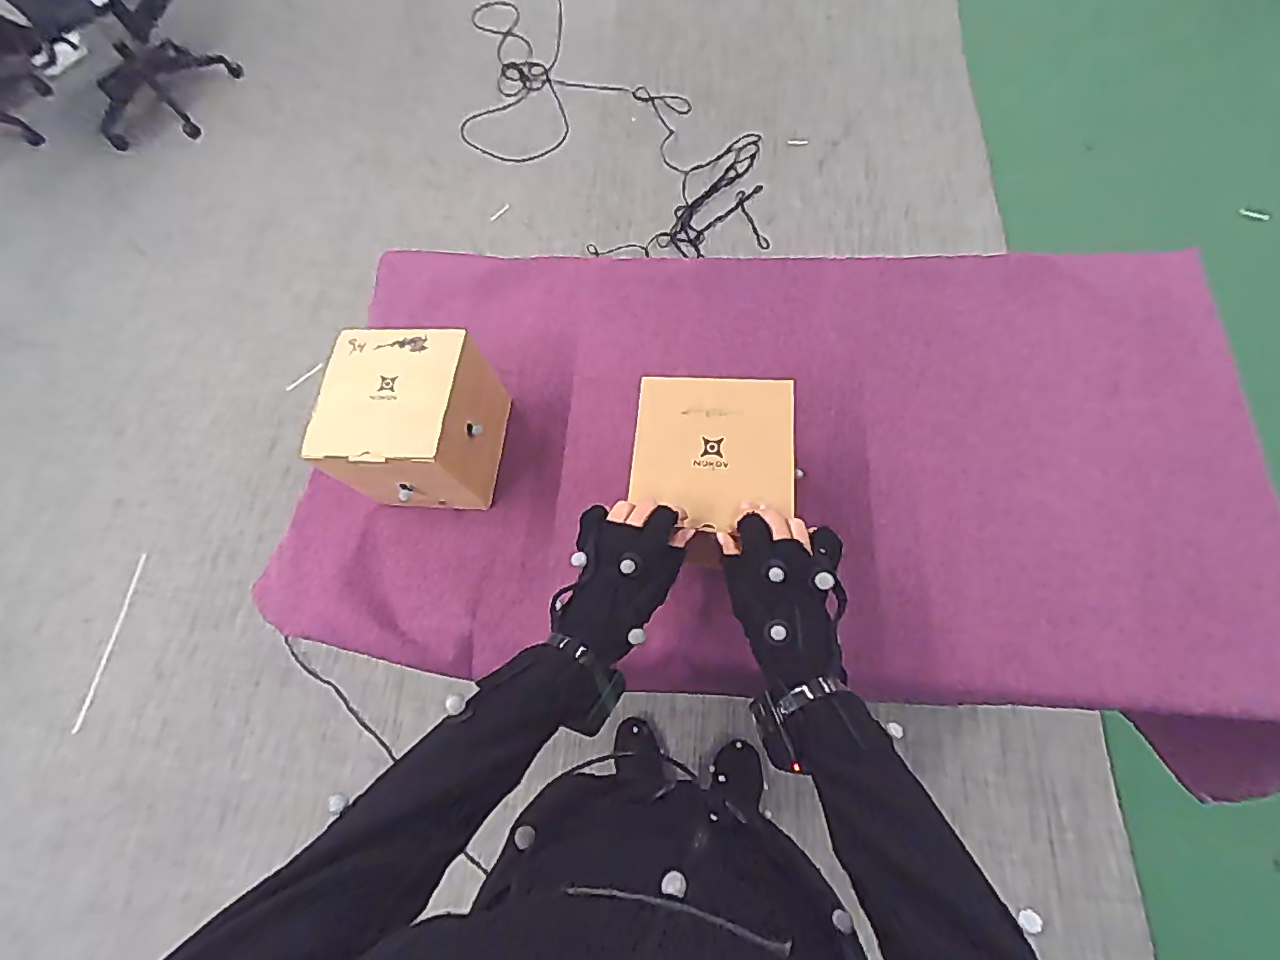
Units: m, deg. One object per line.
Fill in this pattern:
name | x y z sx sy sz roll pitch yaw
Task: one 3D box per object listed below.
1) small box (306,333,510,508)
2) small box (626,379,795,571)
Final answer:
small box | -0.282 -0.070 0.704 0.168 0.176 0.179 2 69 7
small box | 0.085 0.002 0.630 0.168 0.176 0.179 3 68 8
